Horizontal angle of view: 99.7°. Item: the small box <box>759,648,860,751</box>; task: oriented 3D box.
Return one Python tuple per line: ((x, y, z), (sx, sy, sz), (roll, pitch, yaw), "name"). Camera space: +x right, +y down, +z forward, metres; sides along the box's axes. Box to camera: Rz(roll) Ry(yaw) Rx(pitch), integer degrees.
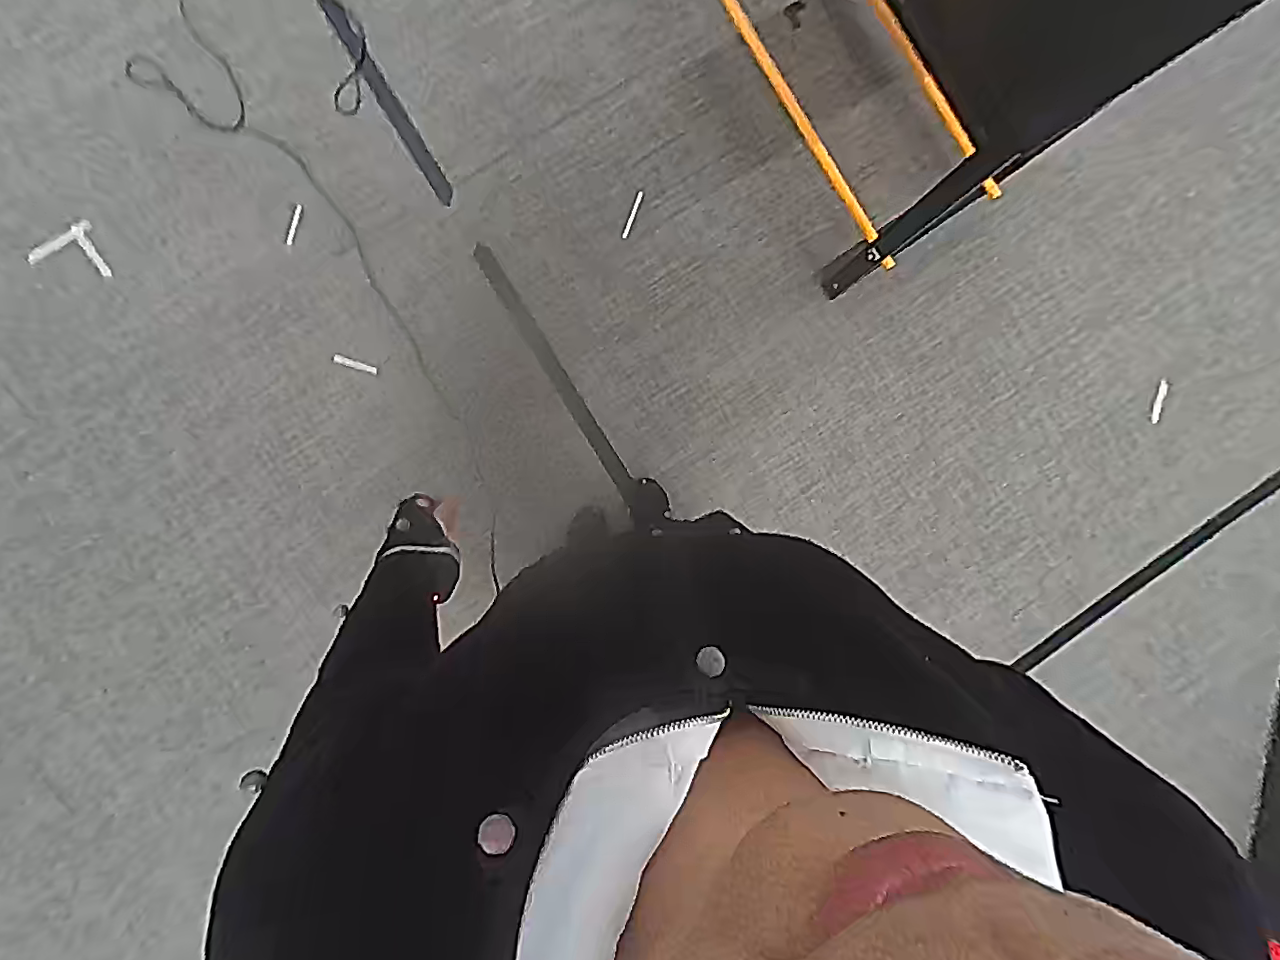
((0.451, 0.584, 1.465), (0.179, 0.176, 0.168), (-30, 92, -3), "small box")
